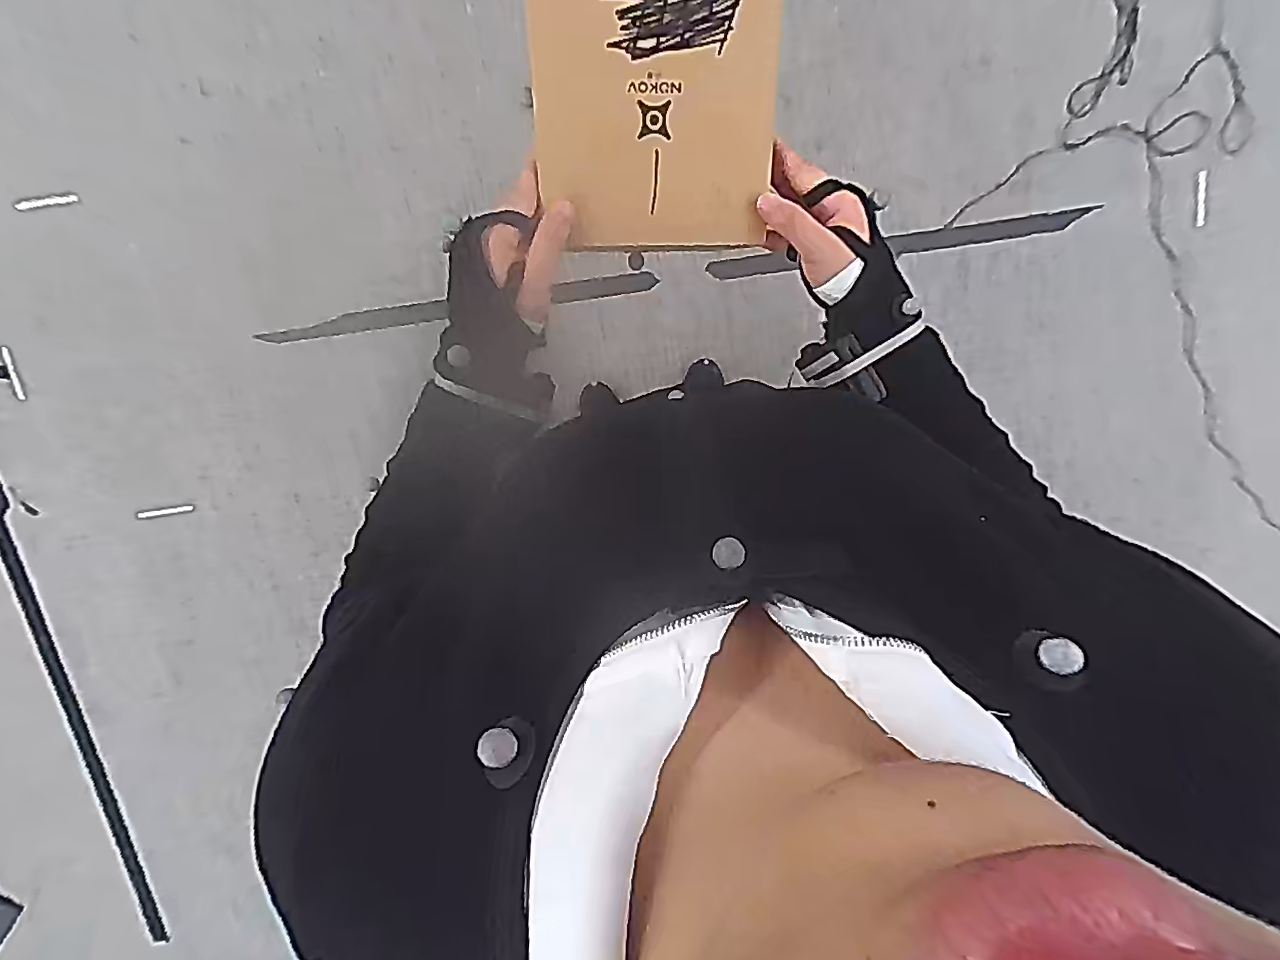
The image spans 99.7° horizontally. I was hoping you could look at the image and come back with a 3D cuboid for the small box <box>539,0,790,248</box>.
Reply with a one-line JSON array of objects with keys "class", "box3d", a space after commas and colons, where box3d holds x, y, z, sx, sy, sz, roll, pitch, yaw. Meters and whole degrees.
[{"class": "small box", "box3d": [0.009, -0.287, 0.437, 0.168, 0.176, 0.179, -1, 112, -4]}]
